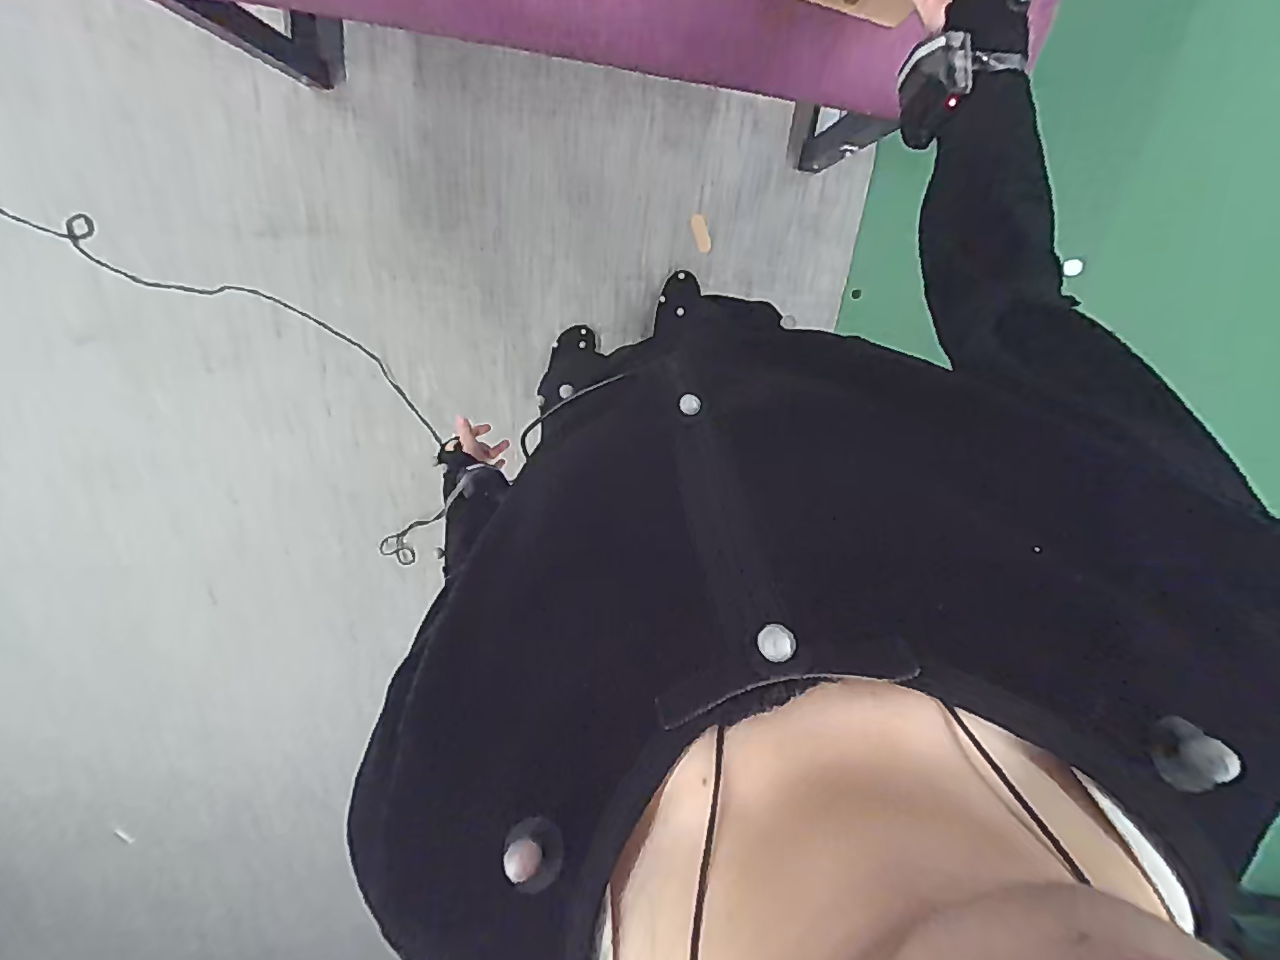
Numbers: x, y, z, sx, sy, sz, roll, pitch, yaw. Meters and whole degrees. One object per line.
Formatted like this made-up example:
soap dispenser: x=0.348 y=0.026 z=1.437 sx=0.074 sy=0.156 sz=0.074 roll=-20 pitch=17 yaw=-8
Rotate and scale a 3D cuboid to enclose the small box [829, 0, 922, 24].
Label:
small box: x=0.222 y=-0.553 z=0.477 sx=0.168 sy=0.176 sz=0.179 roll=14 pitch=111 yaw=-5
